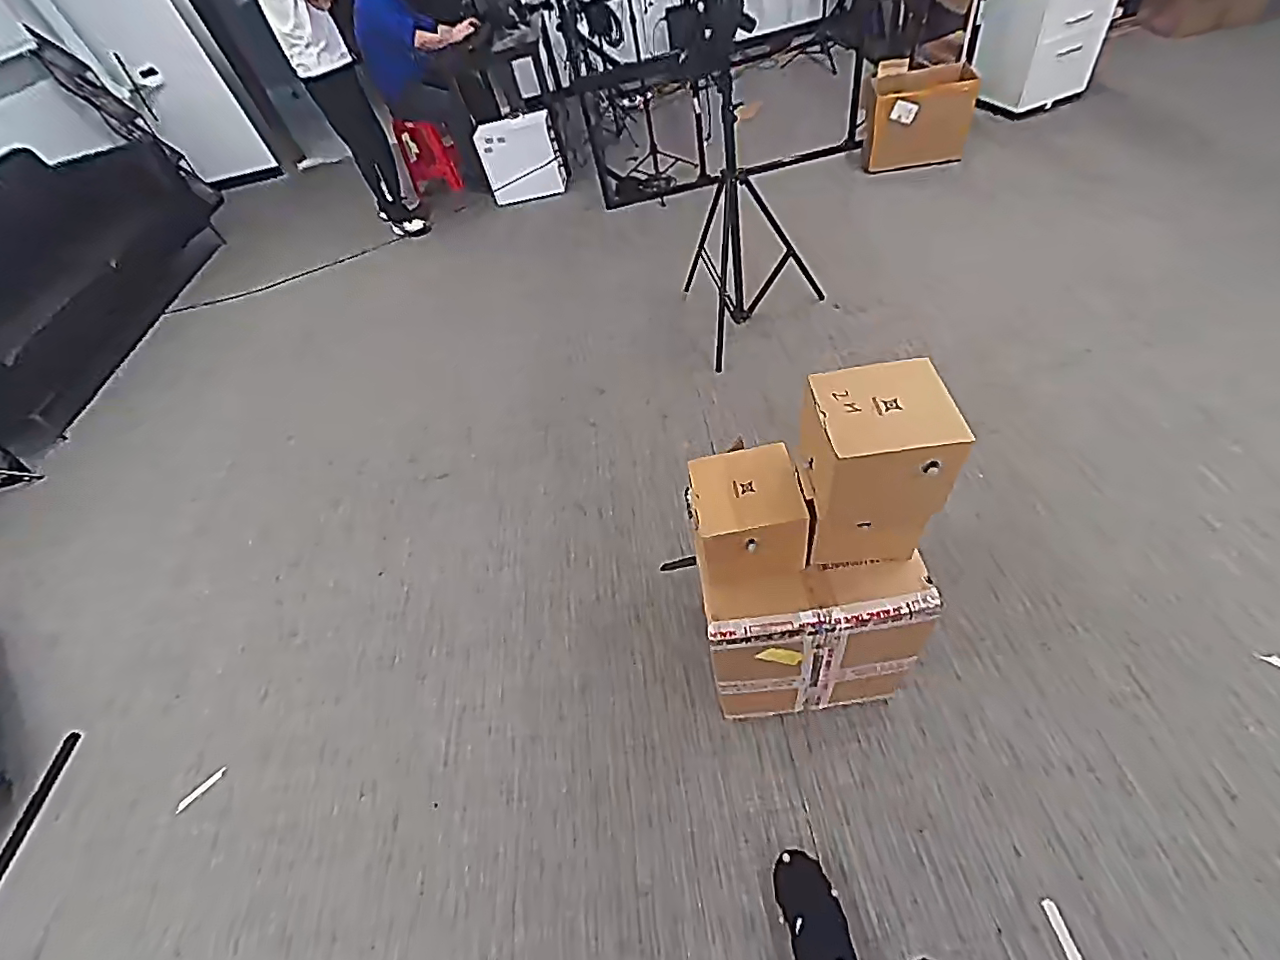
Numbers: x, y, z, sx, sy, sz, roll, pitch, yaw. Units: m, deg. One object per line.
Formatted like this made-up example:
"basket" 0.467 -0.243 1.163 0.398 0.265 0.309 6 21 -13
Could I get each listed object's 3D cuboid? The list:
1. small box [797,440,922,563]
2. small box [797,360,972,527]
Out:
"small box" 0.372 0.033 0.937 0.179 0.176 0.168 -5 52 7
"small box" 0.341 -0.048 0.794 0.179 0.176 0.168 -8 51 5
